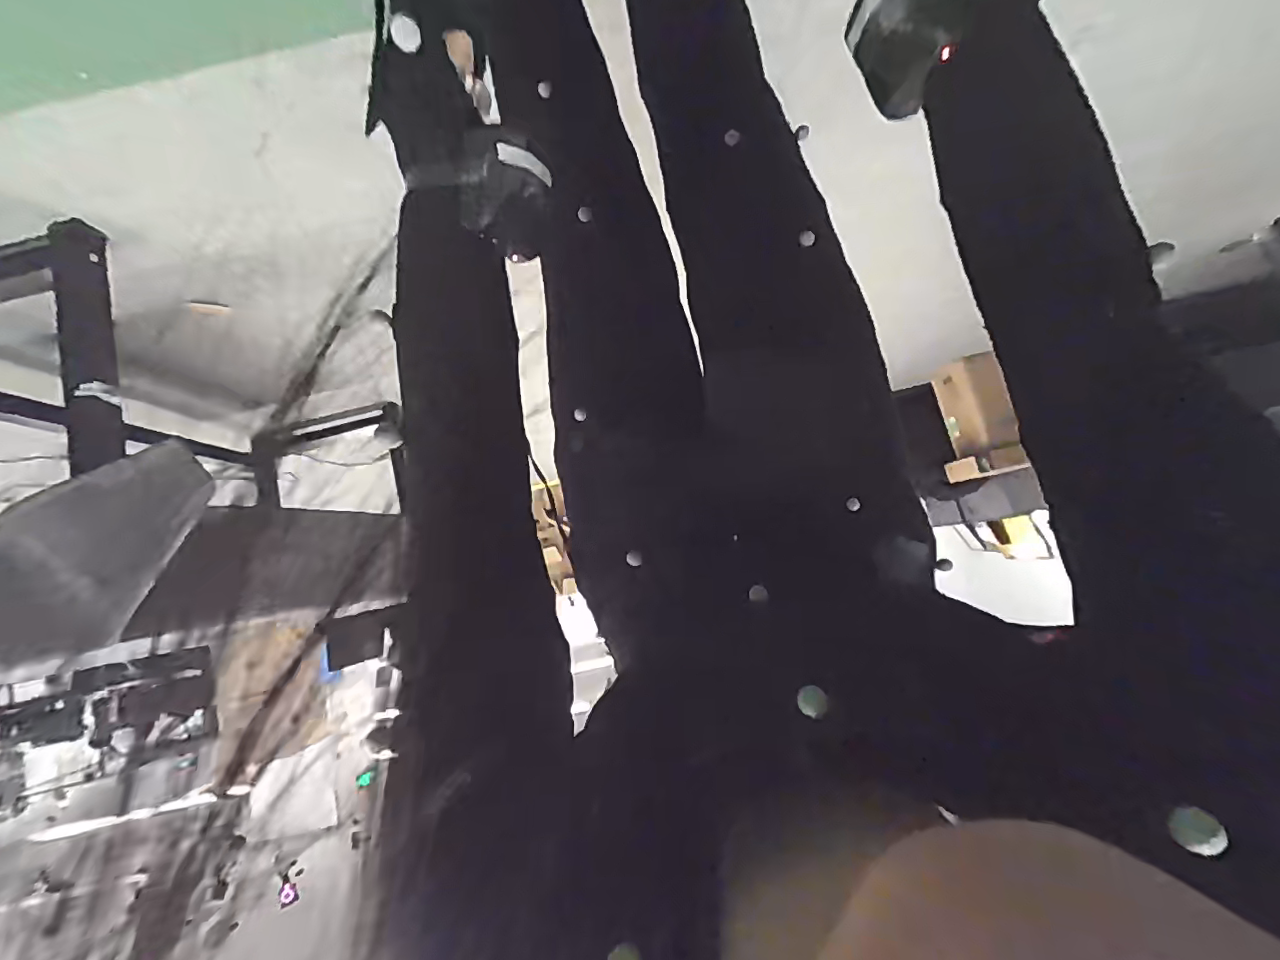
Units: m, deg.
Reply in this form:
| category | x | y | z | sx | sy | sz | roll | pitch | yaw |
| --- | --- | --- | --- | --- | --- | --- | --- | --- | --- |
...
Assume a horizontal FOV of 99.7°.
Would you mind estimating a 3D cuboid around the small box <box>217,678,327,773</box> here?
| category | x | y | z | sx | sy | sz | roll | pitch | yaw |
| --- | --- | --- | --- | --- | --- | --- | --- | --- | --- |
| small box | -0.953 | 0.628 | 1.404 | 0.168 | 0.176 | 0.179 | -12 | 171 | 2 |

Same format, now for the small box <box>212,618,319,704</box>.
| category | x | y | z | sx | sy | sz | roll | pitch | yaw |
| --- | --- | --- | --- | --- | --- | --- | --- | --- | --- |
| small box | -0.987 | 0.469 | 1.426 | 0.179 | 0.176 | 0.168 | -14 | 171 | 0 |
